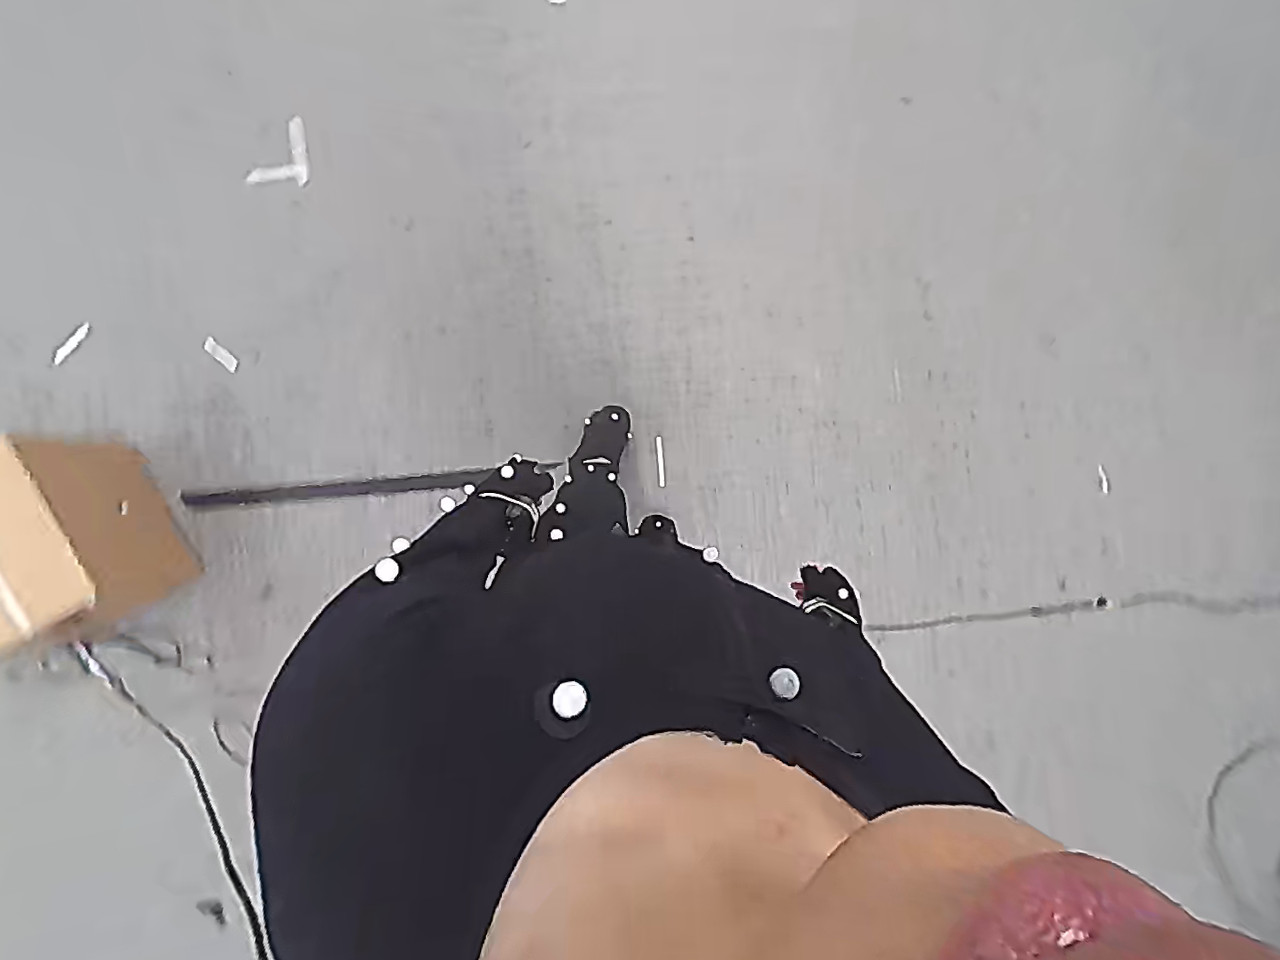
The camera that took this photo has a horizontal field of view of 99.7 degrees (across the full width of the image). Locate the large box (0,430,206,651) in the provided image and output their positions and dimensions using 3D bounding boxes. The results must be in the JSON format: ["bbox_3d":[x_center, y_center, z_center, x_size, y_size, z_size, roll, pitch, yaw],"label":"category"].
[{"bbox_3d":[-1.394,0.132,1.311,0.320,0.320,0.408,-29,92,-1],"label":"large box"}]
